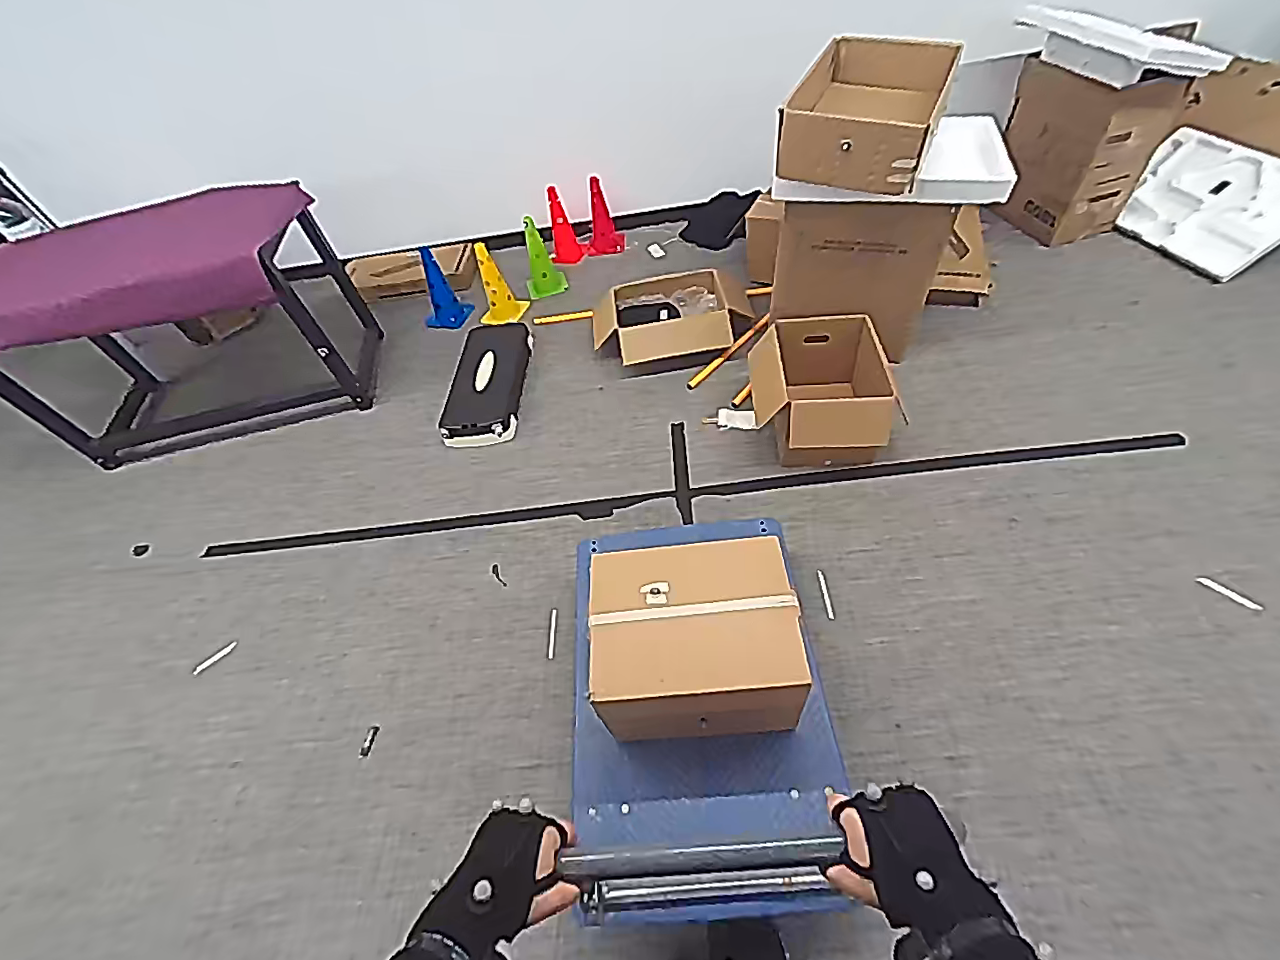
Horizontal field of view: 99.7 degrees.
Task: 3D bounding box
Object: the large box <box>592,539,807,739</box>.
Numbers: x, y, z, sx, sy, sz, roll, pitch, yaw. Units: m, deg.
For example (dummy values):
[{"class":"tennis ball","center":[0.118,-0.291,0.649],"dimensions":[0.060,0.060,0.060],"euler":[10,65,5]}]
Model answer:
[{"class":"large box","center":[0.123,0.362,1.202],"dimensions":[0.408,0.320,0.320],"euler":[-8,50,5]}]
